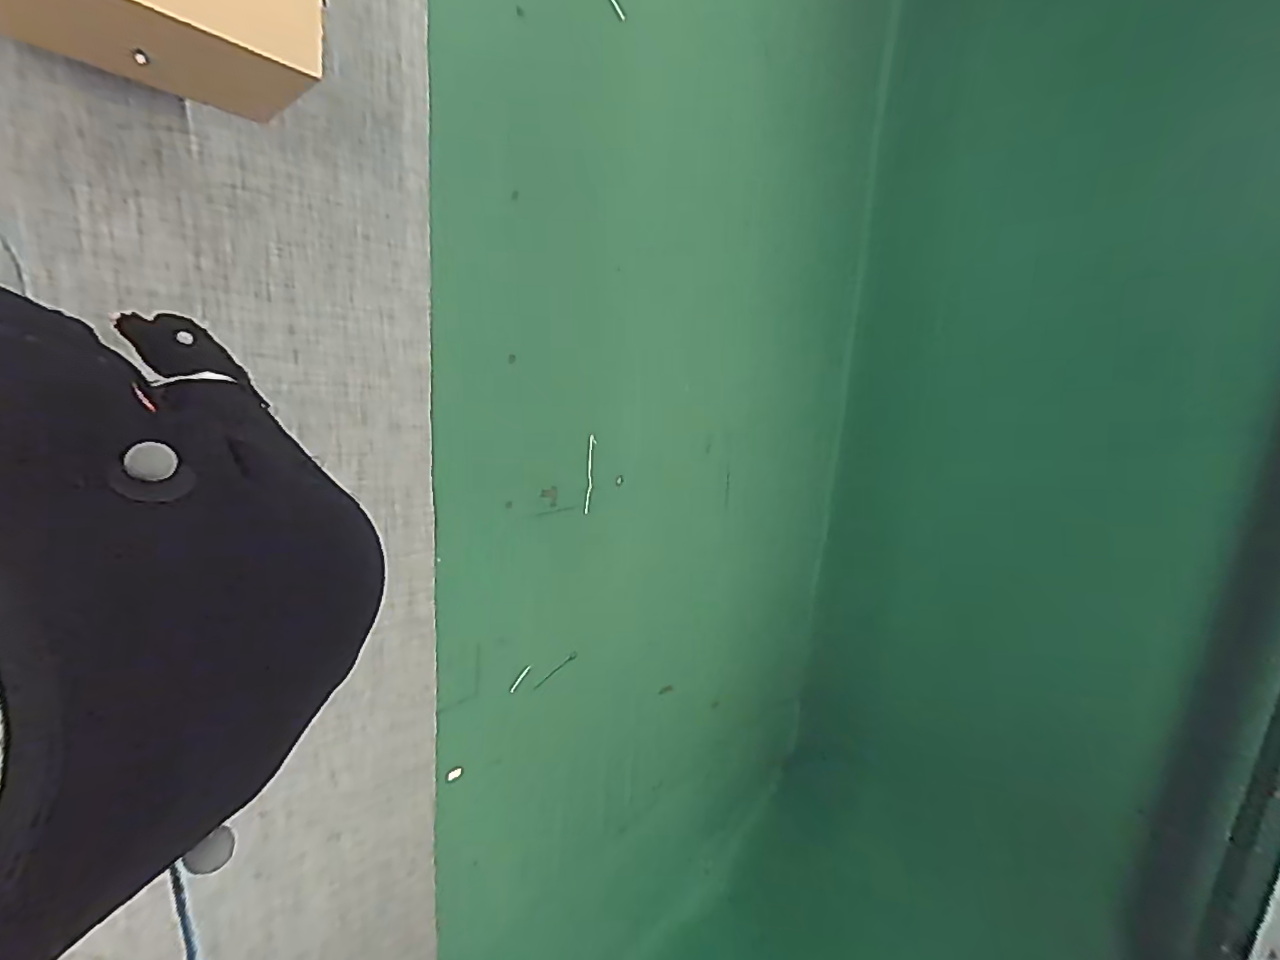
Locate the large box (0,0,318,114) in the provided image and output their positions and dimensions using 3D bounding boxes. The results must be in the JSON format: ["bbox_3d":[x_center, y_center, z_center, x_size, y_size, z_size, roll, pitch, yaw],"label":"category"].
[{"bbox_3d":[-0.749,-0.813,0.796,0.408,0.320,0.320,-7,106,-48],"label":"large box"}]
